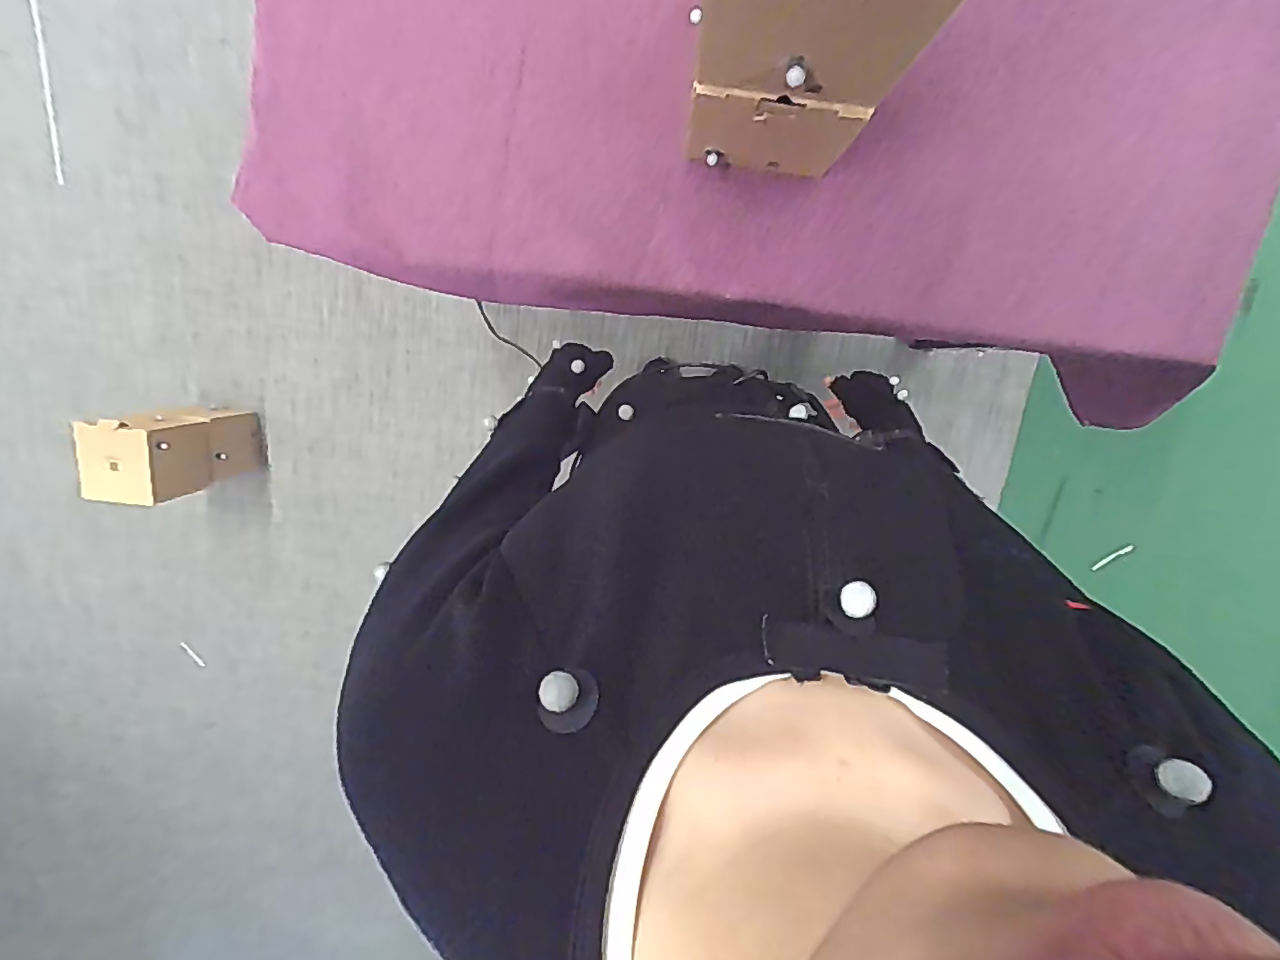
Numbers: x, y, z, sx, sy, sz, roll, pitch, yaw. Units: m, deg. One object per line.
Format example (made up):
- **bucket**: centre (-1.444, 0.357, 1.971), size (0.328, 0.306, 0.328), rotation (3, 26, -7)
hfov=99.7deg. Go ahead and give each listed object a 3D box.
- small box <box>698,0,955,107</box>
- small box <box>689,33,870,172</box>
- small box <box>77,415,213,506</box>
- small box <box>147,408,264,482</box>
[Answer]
- **small box**: centre (0.138, -0.415, 0.393), size (0.168, 0.176, 0.179), rotation (9, 103, 1)
- **small box**: centre (0.145, -0.442, 0.555), size (0.168, 0.176, 0.179), rotation (9, 102, 0)
- **small box**: centre (-1.150, -0.051, 1.273), size (0.168, 0.176, 0.179), rotation (6, 102, 1)
- **small box**: centre (-1.140, -0.098, 1.429), size (0.179, 0.176, 0.168), rotation (6, 103, 2)
